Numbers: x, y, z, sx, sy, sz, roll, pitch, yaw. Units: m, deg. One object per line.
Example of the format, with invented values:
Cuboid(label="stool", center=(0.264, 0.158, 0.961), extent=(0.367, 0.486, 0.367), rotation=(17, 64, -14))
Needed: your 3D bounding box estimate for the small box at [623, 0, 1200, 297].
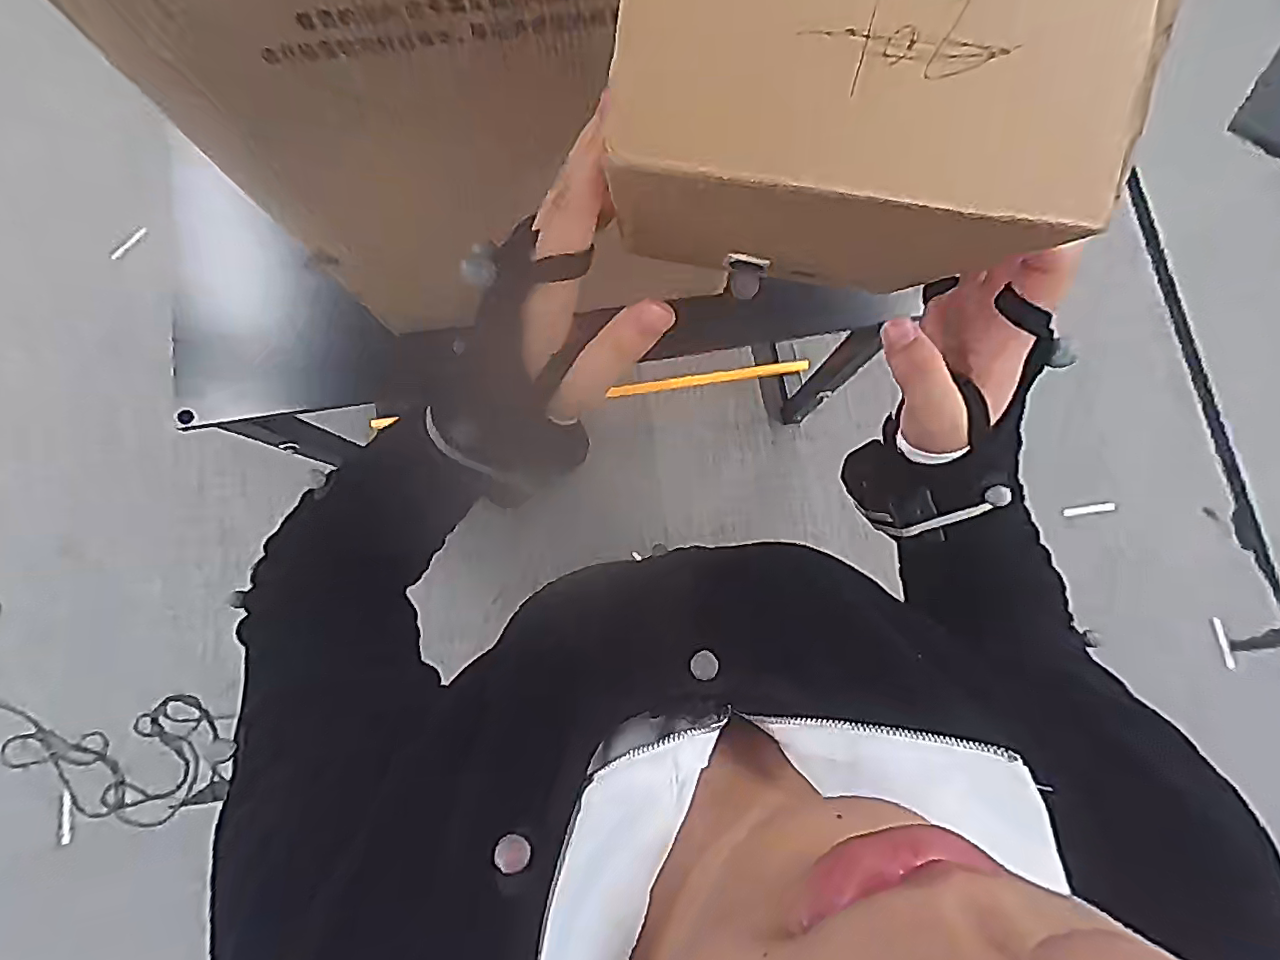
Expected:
Cuboid(label="small box", center=(0.087, -0.189, 0.233), extent=(0.168, 0.176, 0.179), rotation=(8, 102, 0))
